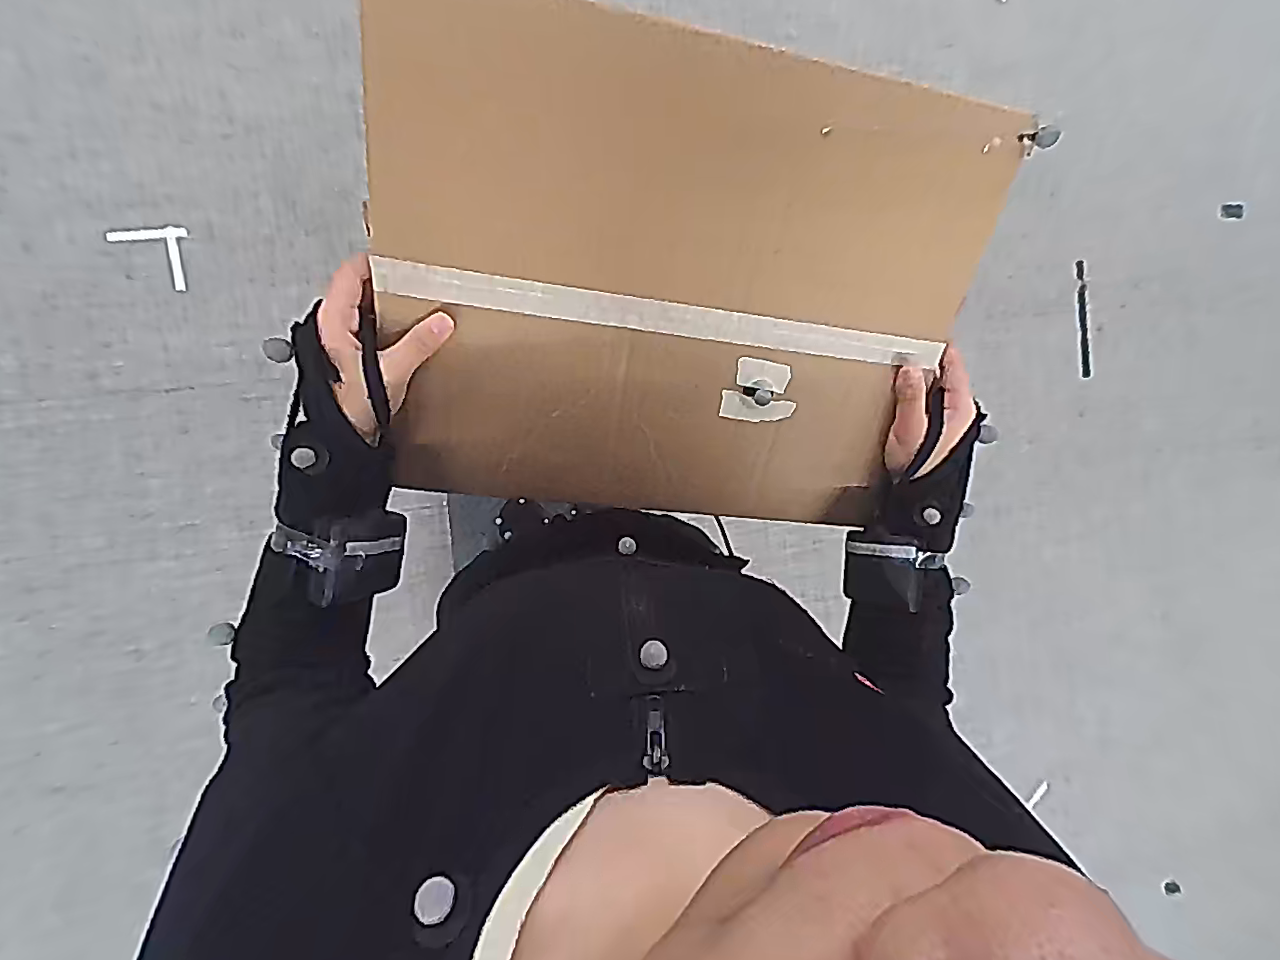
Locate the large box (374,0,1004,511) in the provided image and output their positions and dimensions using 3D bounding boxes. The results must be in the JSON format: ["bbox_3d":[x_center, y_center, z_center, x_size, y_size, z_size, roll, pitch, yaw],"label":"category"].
[{"bbox_3d":[0.007,-0.186,0.520,0.408,0.320,0.320,4,118,-12],"label":"large box"}]
